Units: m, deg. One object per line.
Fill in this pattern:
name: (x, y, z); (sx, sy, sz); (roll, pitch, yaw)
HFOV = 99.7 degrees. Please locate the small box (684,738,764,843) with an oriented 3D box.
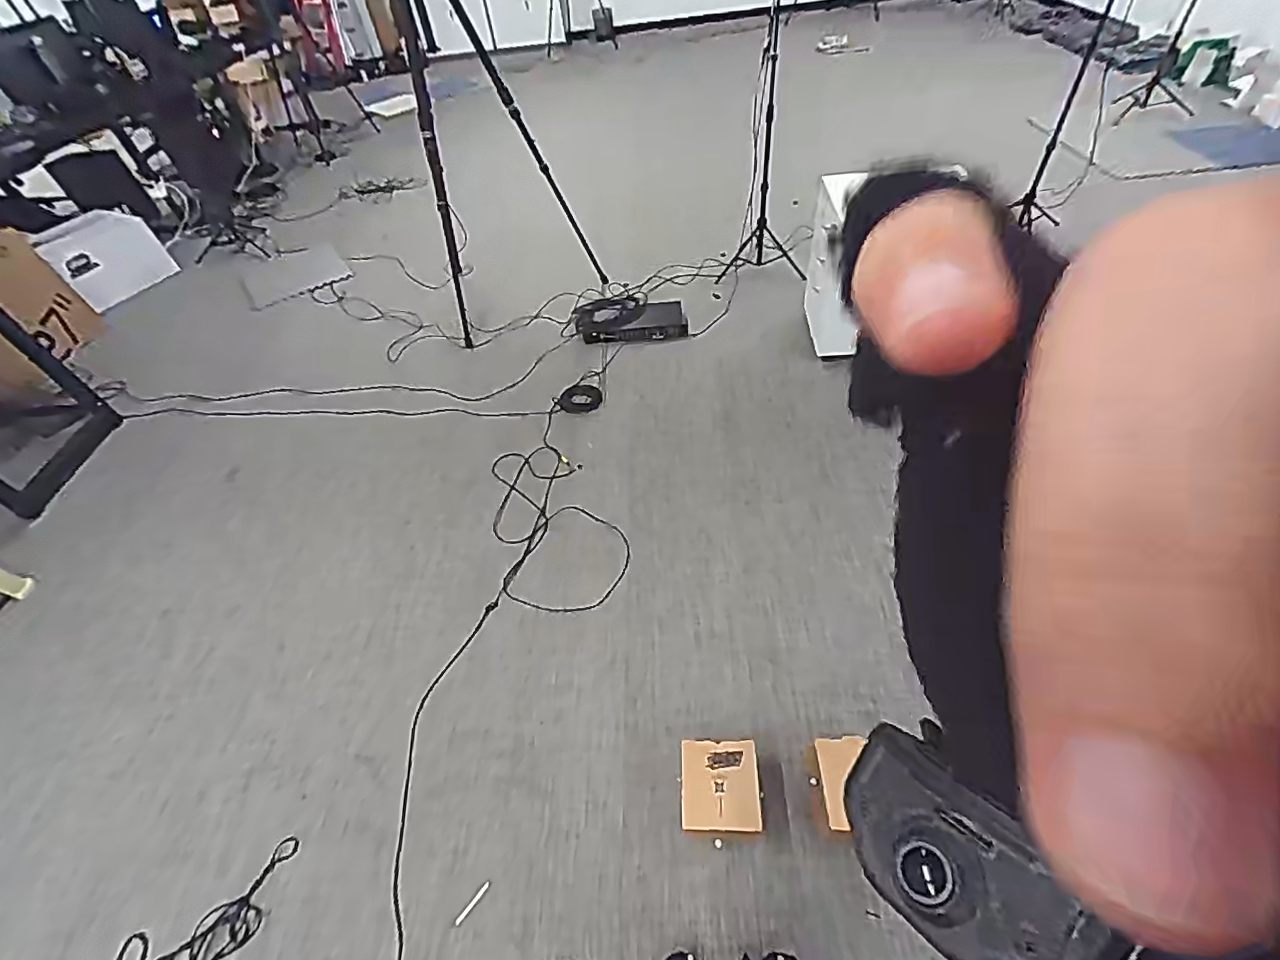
small box: (0.183, 0.697, 1.214); (0.168, 0.176, 0.179); (-2, 50, 6)

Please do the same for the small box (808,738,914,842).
small box: (0.476, 0.684, 1.190); (0.168, 0.176, 0.179); (-3, 48, 5)
